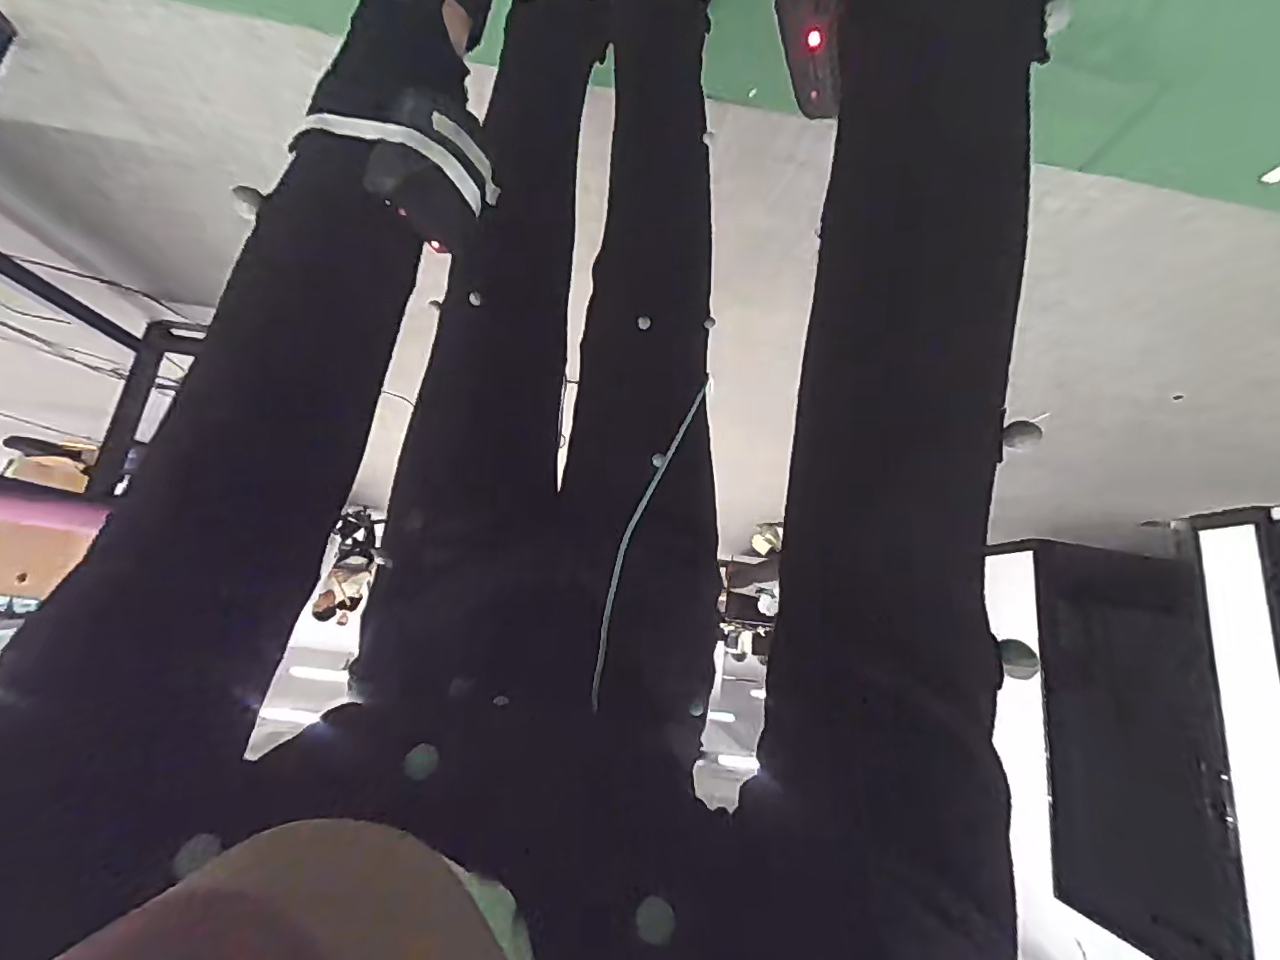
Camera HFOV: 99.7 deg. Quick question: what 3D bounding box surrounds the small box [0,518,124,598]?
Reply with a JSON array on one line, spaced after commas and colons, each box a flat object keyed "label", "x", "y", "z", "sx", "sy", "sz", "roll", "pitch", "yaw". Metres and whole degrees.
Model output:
[{"label": "small box", "x": -1.415, "y": 0.191, "z": 1.311, "sx": 0.179, "sy": 0.176, "sz": 0.168, "roll": 9, "pitch": 165, "yaw": -6}]
